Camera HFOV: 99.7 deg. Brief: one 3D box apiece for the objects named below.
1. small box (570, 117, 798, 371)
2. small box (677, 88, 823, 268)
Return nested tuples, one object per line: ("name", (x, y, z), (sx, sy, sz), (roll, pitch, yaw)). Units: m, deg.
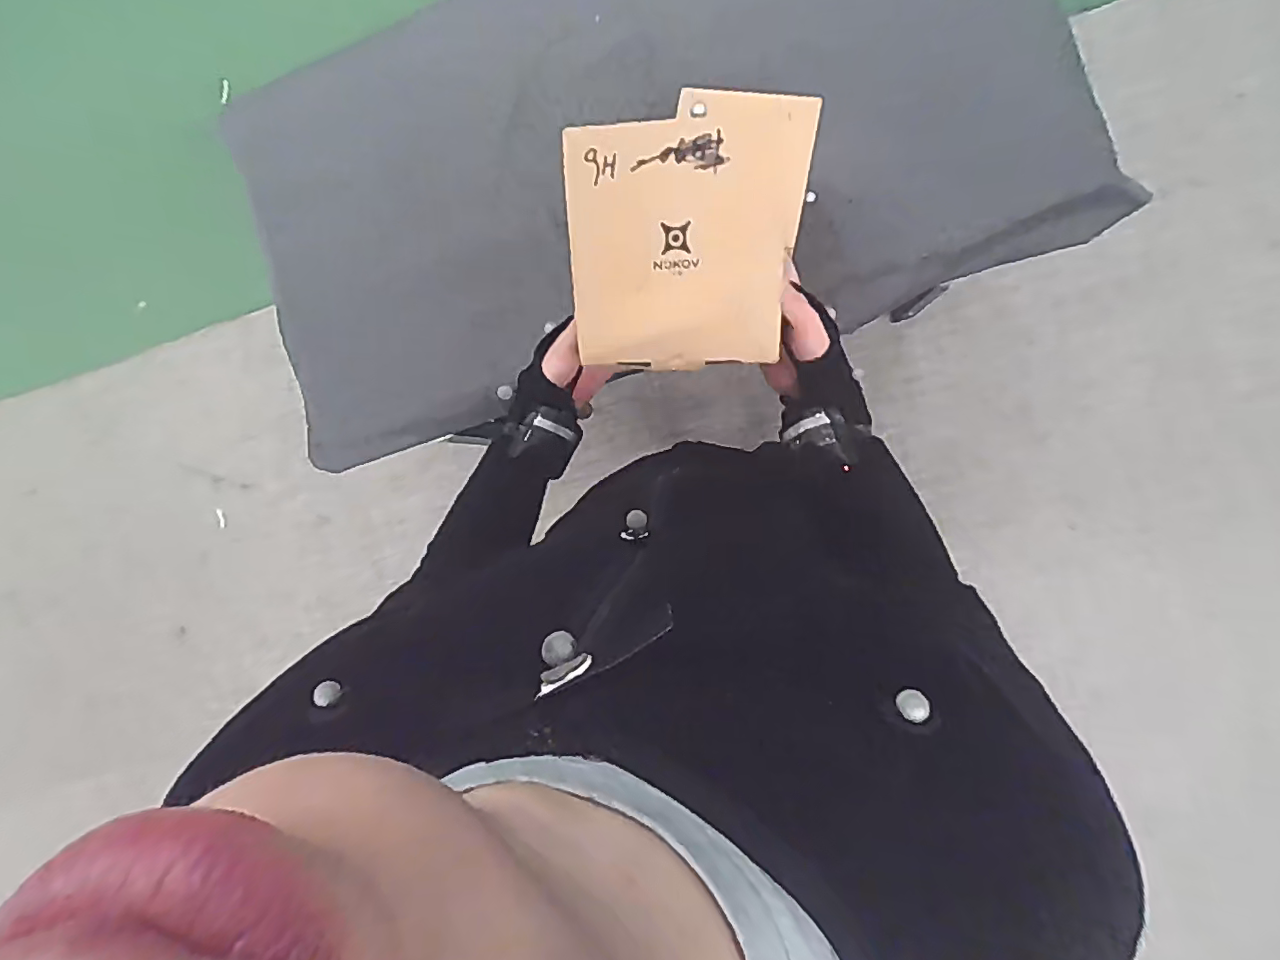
("small box", (0.042, -0.202, 0.488), (0.168, 0.176, 0.179), (0, 111, 7))
("small box", (0.127, -0.364, 0.708), (0.168, 0.176, 0.179), (10, 92, 7))
